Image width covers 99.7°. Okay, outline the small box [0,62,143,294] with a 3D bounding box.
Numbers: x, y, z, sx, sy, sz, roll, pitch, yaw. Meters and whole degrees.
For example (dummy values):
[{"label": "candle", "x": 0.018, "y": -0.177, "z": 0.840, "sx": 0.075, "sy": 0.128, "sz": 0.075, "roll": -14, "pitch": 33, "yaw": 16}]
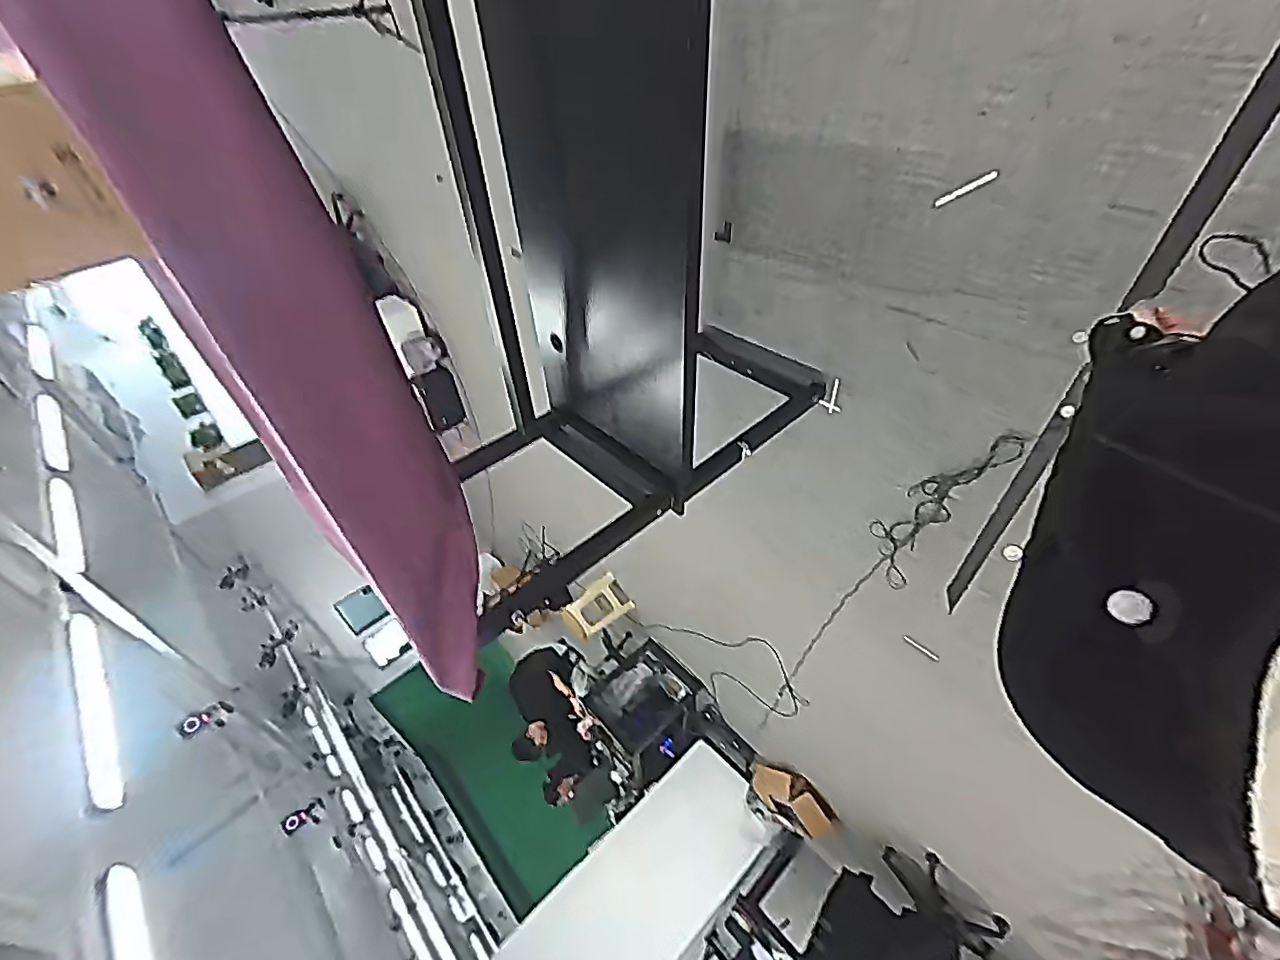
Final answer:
[{"label": "small box", "x": -0.664, "y": -0.307, "z": 0.551, "sx": 0.179, "sy": 0.176, "sz": 0.168, "roll": 38, "pitch": 148, "yaw": 31}]
